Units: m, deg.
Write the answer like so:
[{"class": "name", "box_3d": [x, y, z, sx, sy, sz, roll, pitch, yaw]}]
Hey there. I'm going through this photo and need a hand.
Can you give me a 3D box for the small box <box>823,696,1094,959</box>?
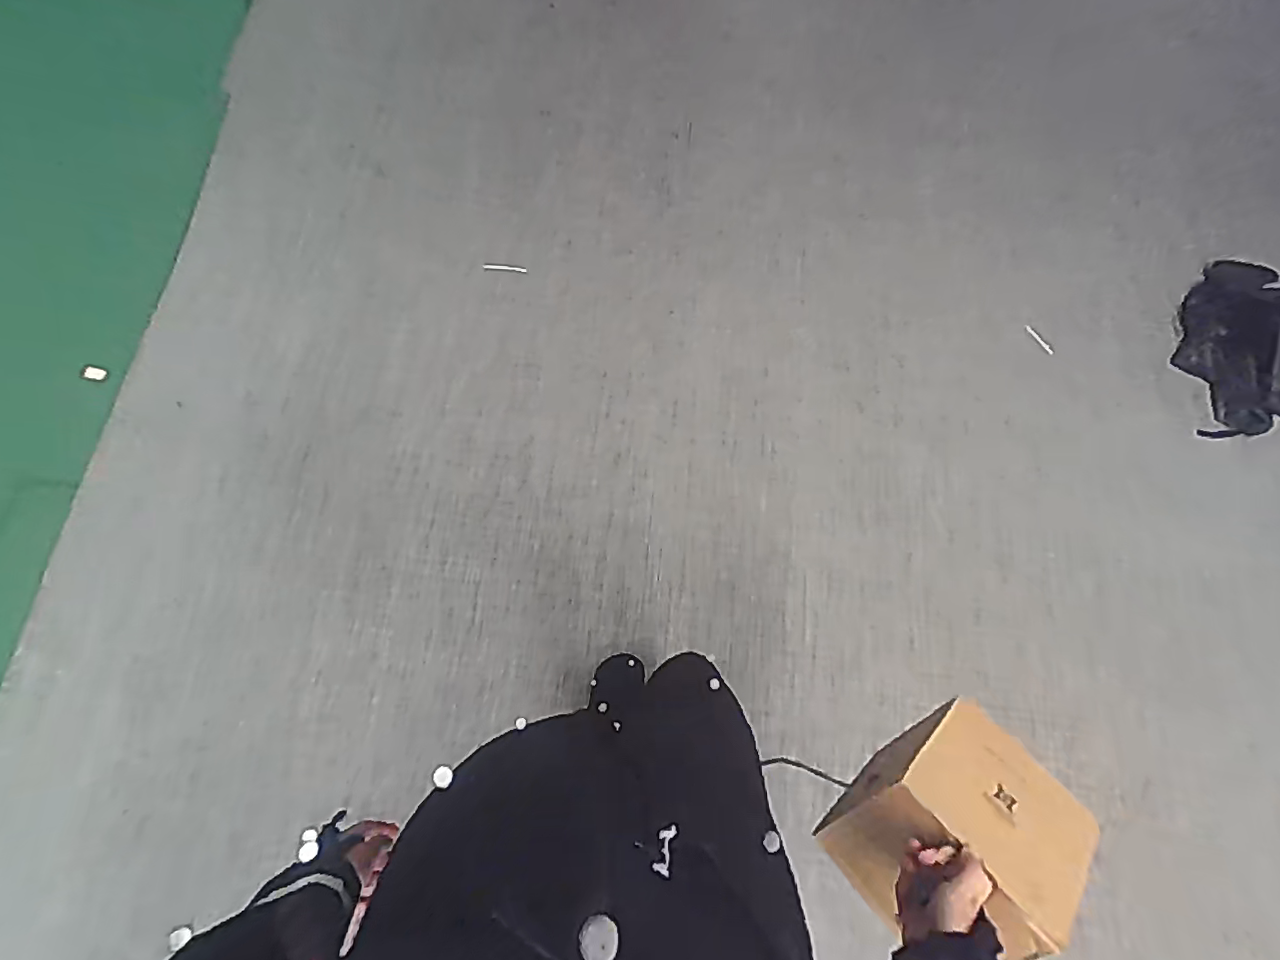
[{"class": "small box", "box_3d": [0.328, 0.379, 0.582, 0.179, 0.176, 0.168, -16, 52, -43]}]
